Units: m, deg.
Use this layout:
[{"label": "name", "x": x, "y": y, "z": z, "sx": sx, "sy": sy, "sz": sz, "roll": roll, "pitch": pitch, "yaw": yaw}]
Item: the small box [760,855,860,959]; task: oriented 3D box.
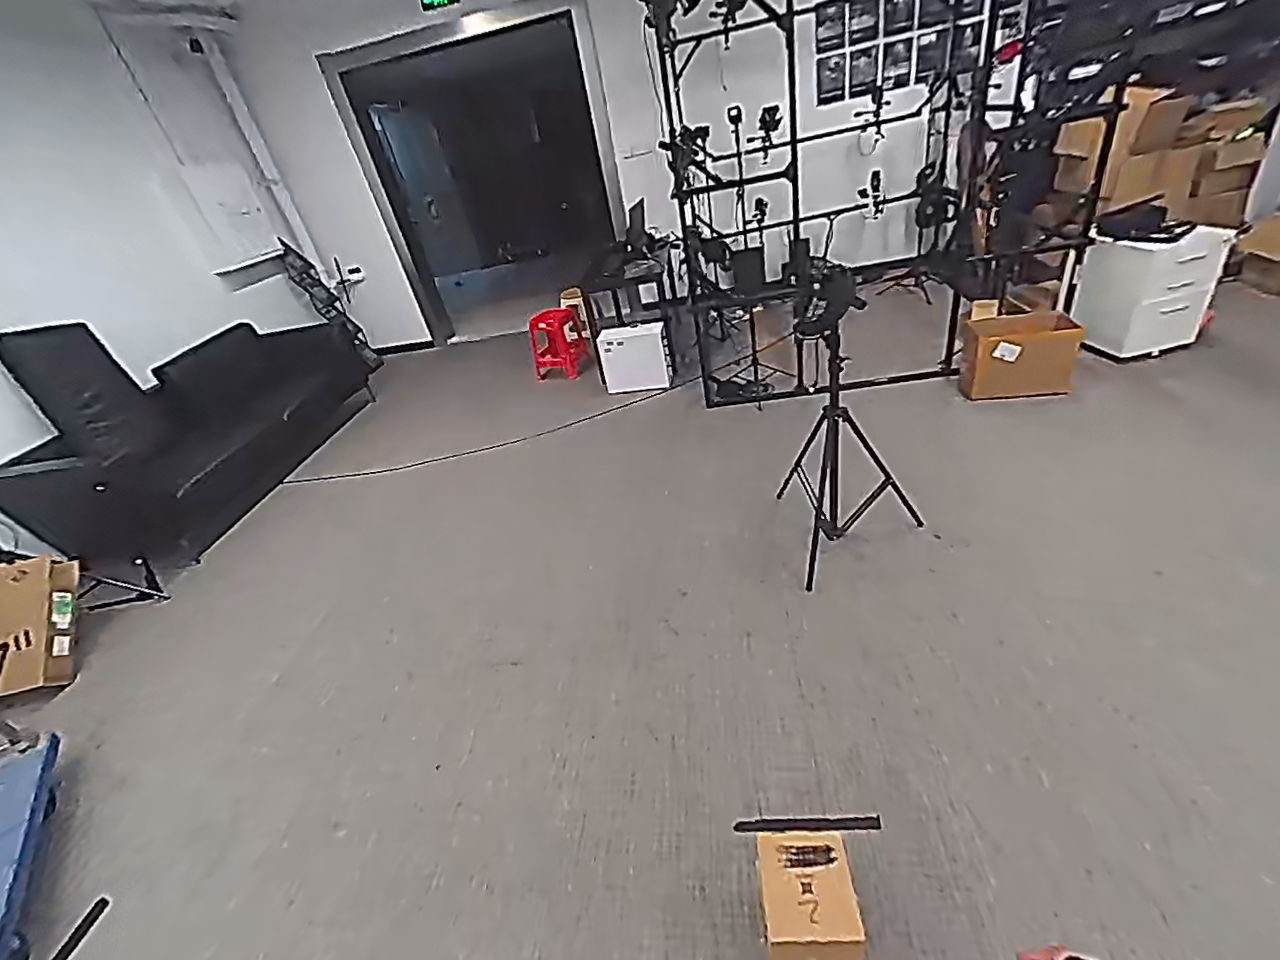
[{"label": "small box", "x": 0.354, "y": 0.939, "z": 1.150, "sx": 0.168, "sy": 0.176, "sz": 0.179, "roll": -10, "pitch": 33, "yaw": 6}]
